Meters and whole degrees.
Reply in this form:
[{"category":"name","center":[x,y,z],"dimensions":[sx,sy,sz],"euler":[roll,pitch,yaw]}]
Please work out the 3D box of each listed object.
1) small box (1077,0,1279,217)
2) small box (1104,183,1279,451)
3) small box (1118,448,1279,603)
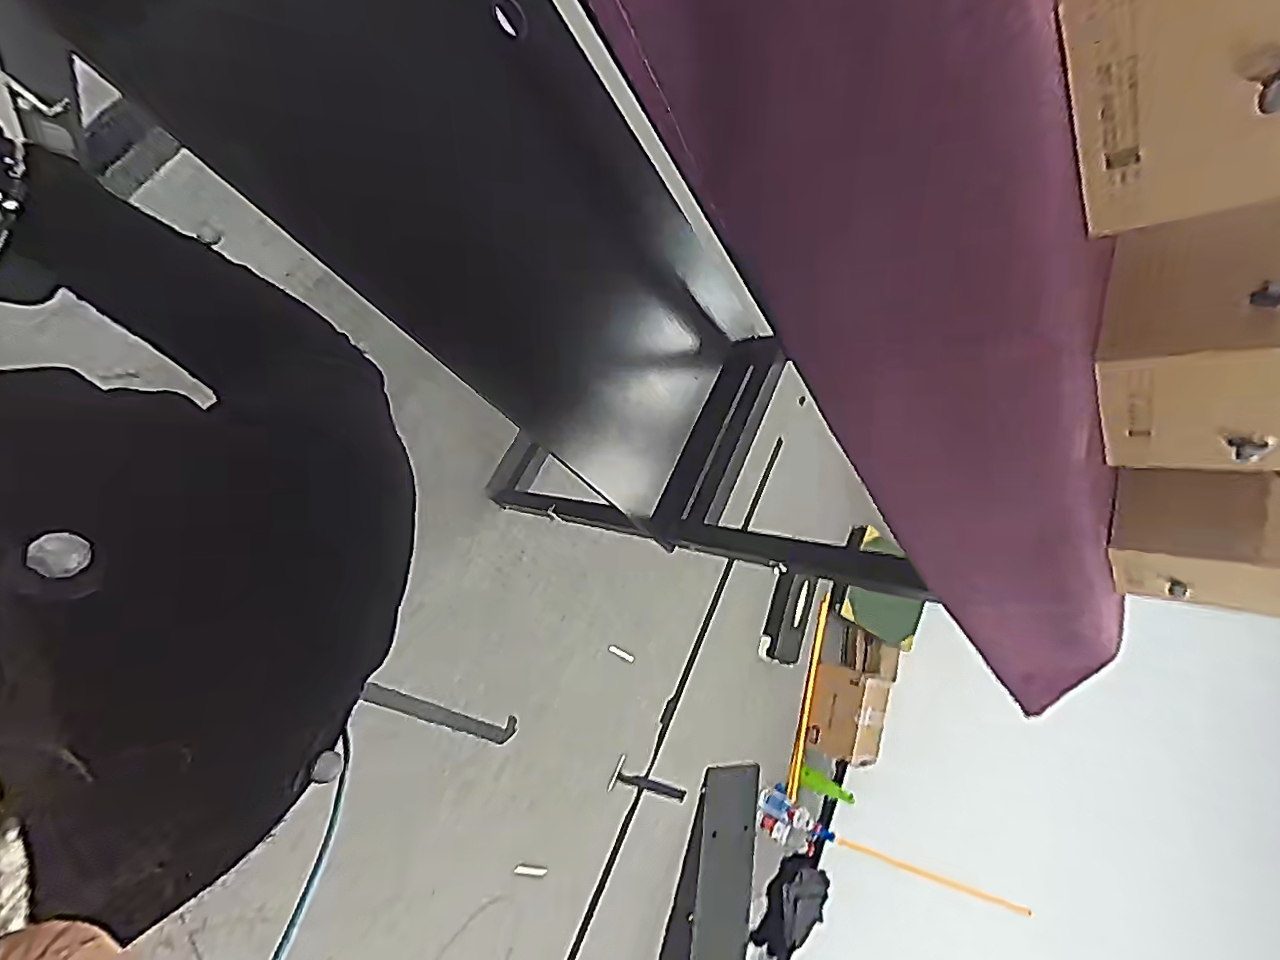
[{"category":"small box","center":[0.327,-0.264,0.260],"dimensions":[0.168,0.176,0.179],"euler":[29,74,-42]},{"category":"small box","center":[0.488,-0.131,0.432],"dimensions":[0.168,0.176,0.179],"euler":[38,68,-40]},{"category":"small box","center":[0.639,0.020,0.587],"dimensions":[0.168,0.176,0.179],"euler":[33,70,-40]}]
